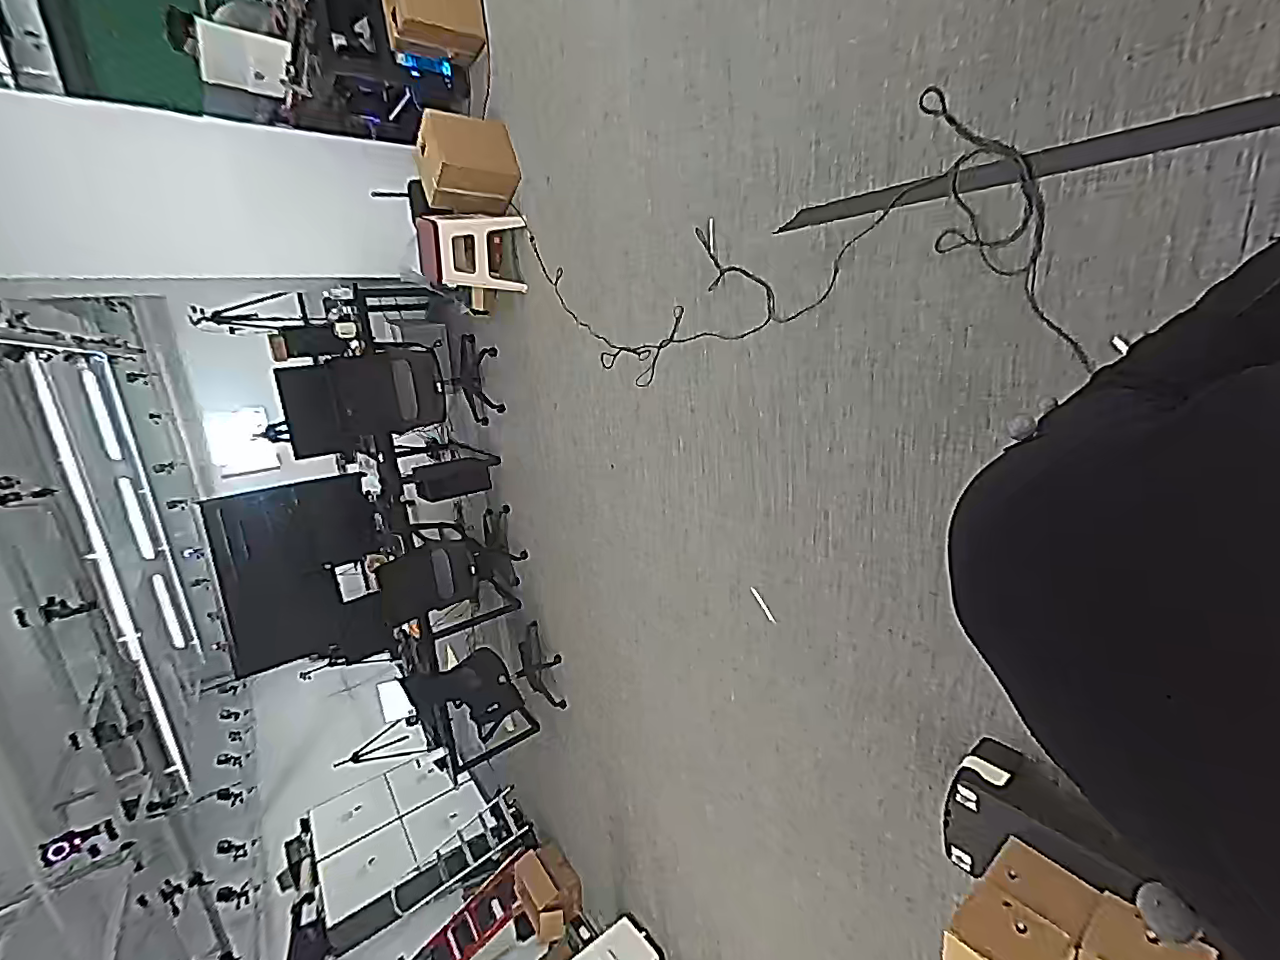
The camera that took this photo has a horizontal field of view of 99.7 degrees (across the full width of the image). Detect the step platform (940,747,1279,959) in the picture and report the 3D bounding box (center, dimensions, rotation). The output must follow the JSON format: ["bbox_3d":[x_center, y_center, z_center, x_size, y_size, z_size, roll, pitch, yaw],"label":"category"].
[{"bbox_3d":[1.051,0.922,1.200,0.684,0.204,0.286,15,115,51],"label":"step platform"}]

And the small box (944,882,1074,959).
[{"bbox_3d":[0.731,0.968,1.075,0.168,0.176,0.179,13,112,53],"label":"small box"}]
